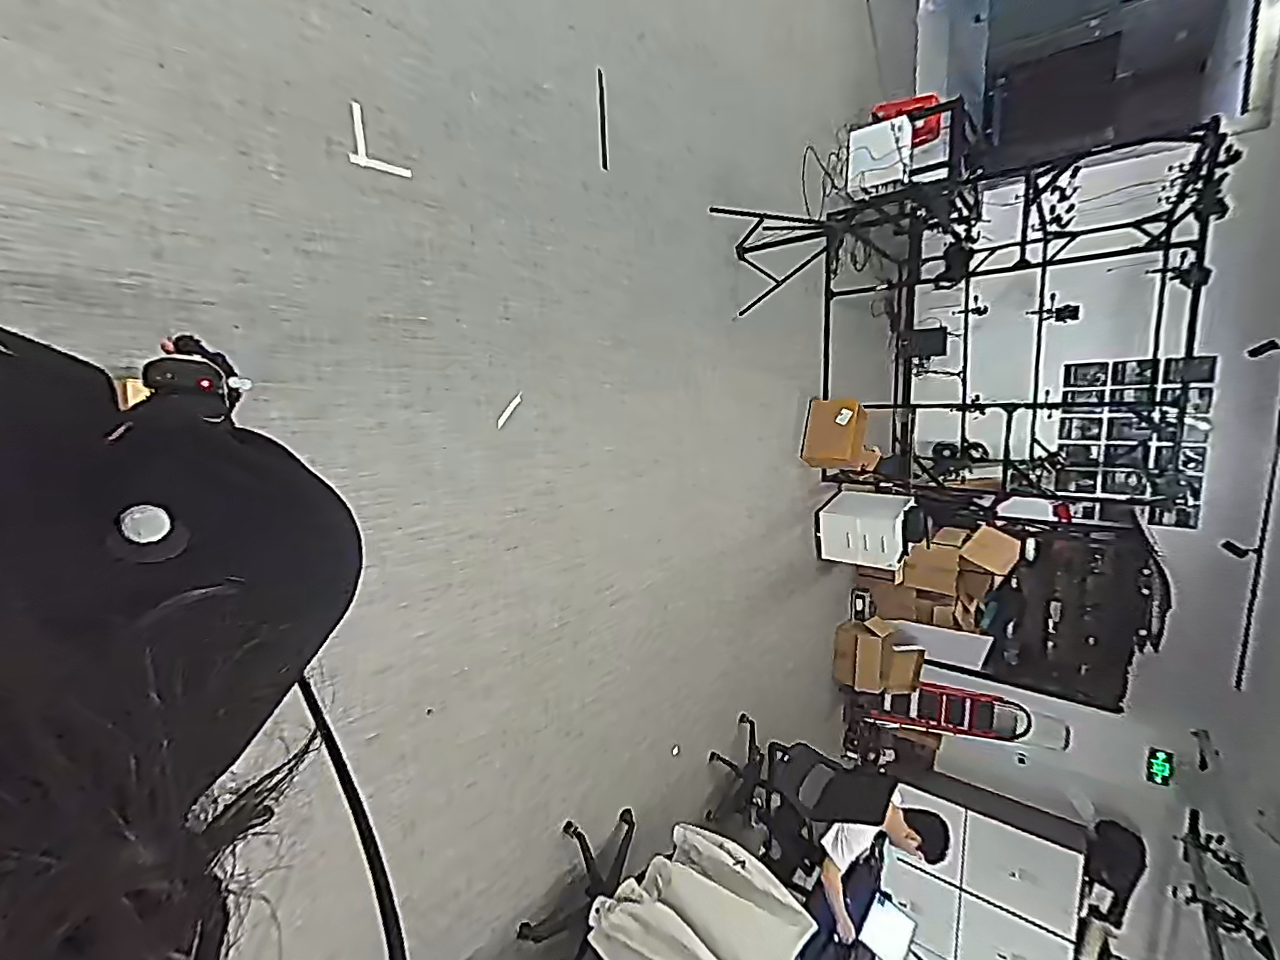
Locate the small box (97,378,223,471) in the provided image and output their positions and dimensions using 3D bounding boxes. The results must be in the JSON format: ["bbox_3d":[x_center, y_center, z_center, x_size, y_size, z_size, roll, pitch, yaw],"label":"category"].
[{"bbox_3d":[-0.991,-0.113,1.117,0.168,0.176,0.179,-7,100,-50],"label":"small box"}]
